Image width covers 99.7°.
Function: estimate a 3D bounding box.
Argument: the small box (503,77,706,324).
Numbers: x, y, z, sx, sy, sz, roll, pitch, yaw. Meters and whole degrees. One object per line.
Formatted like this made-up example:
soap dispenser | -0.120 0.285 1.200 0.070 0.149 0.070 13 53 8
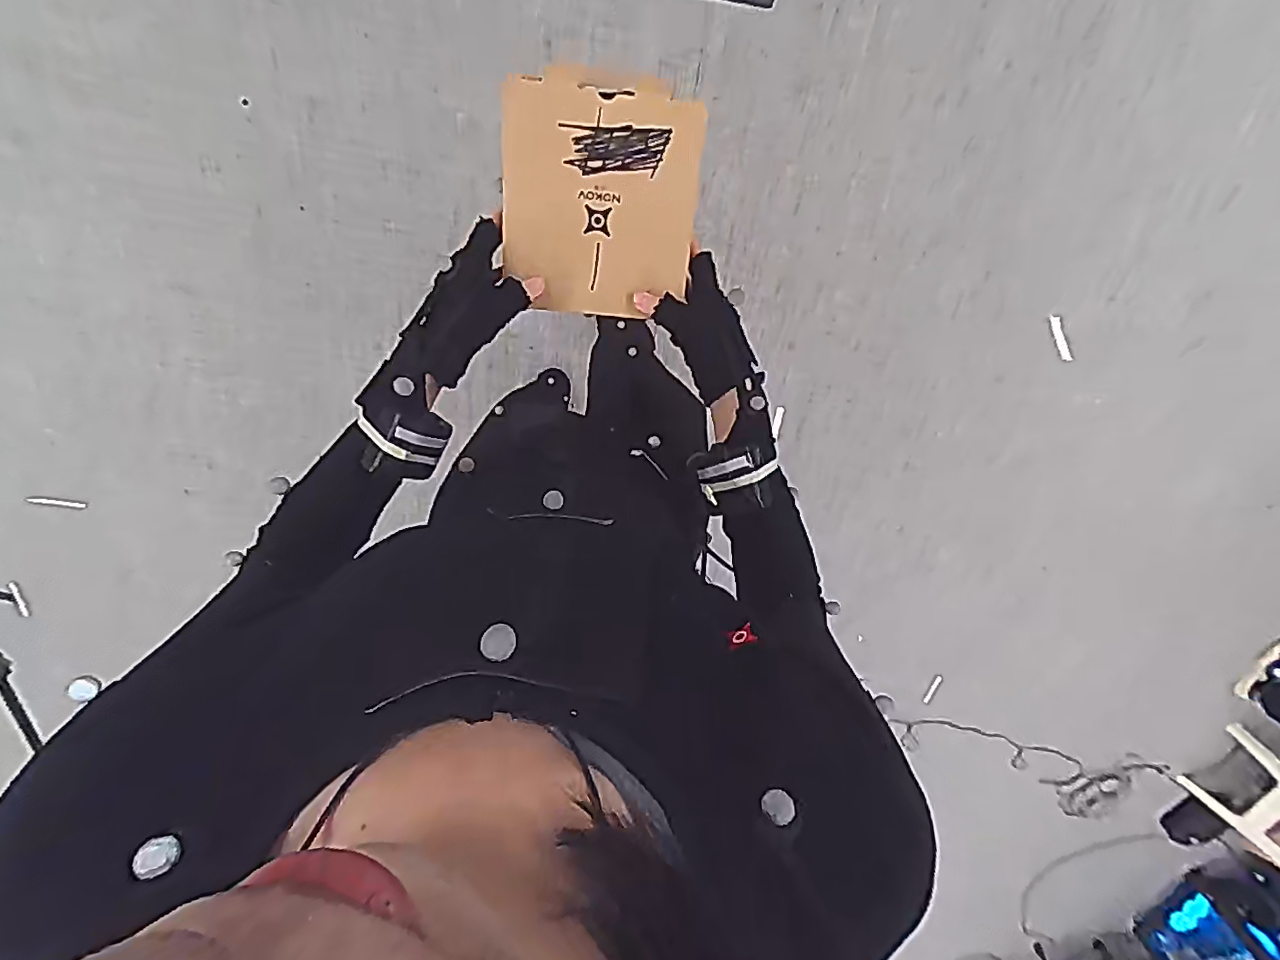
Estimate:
small box | -0.041 -0.265 0.541 0.168 0.176 0.179 4 114 -6
